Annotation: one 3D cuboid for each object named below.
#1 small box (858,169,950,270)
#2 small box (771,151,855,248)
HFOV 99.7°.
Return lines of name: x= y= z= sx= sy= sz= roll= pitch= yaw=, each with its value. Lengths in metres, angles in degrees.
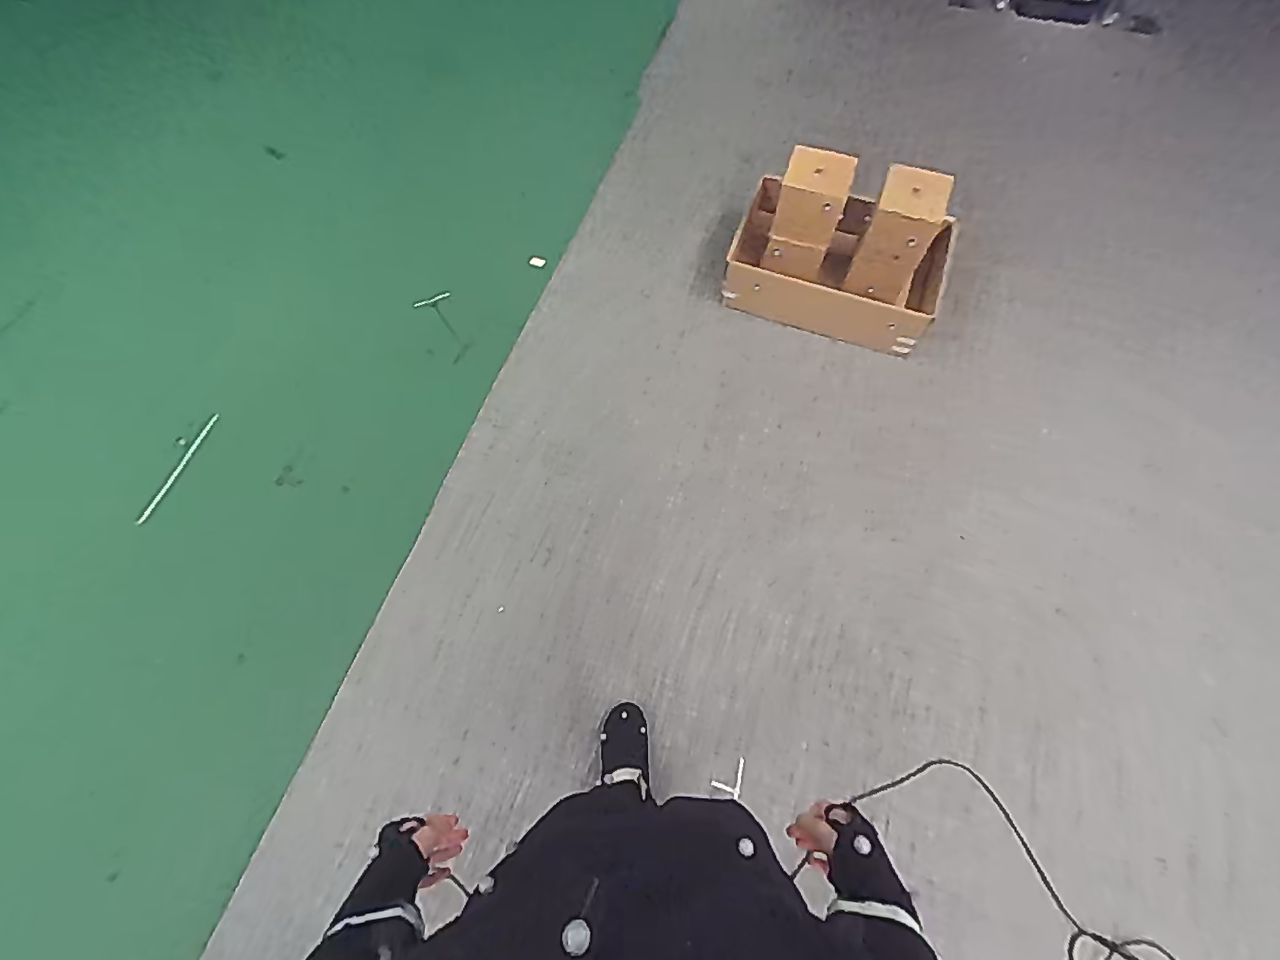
small box: x=0.727 y=-0.718 z=1.504 sx=0.168 sy=0.176 sz=0.179 roll=19 pitch=70 yaw=10
small box: x=0.487 y=-0.795 z=1.546 sx=0.179 sy=0.176 sz=0.168 roll=18 pitch=70 yaw=8
